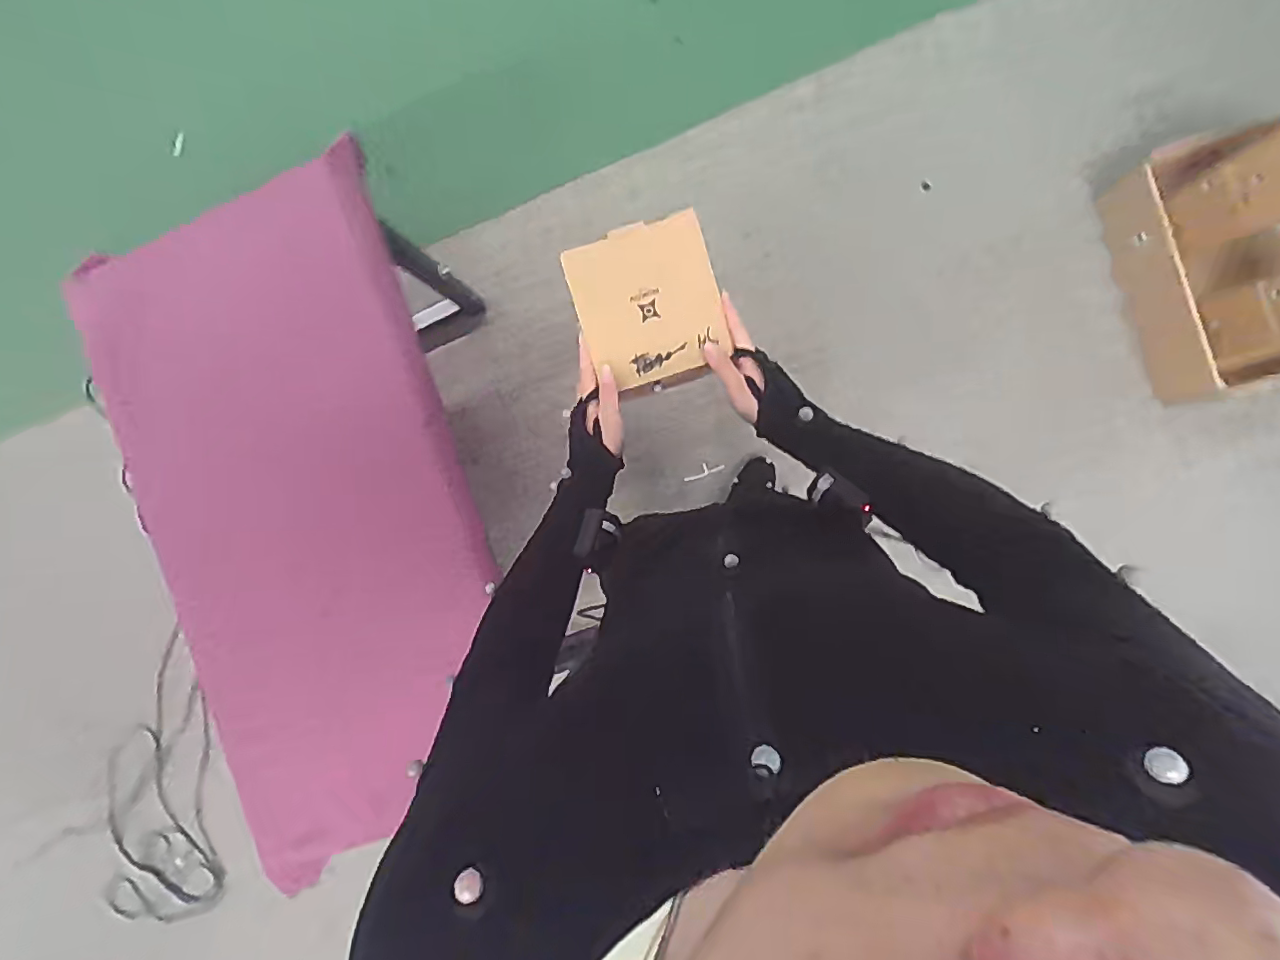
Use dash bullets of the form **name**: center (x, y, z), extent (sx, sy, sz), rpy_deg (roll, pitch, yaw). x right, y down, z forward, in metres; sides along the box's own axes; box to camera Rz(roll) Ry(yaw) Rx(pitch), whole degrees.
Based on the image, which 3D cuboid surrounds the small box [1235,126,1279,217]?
- **small box**: center (1.456, -0.698, 1.151), extent (0.179, 0.176, 0.168), rpy_deg (-16, 89, 7)

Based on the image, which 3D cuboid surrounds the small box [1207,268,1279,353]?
- **small box**: center (1.552, -0.423, 1.302), extent (0.179, 0.176, 0.168), rpy_deg (-16, 87, 8)
